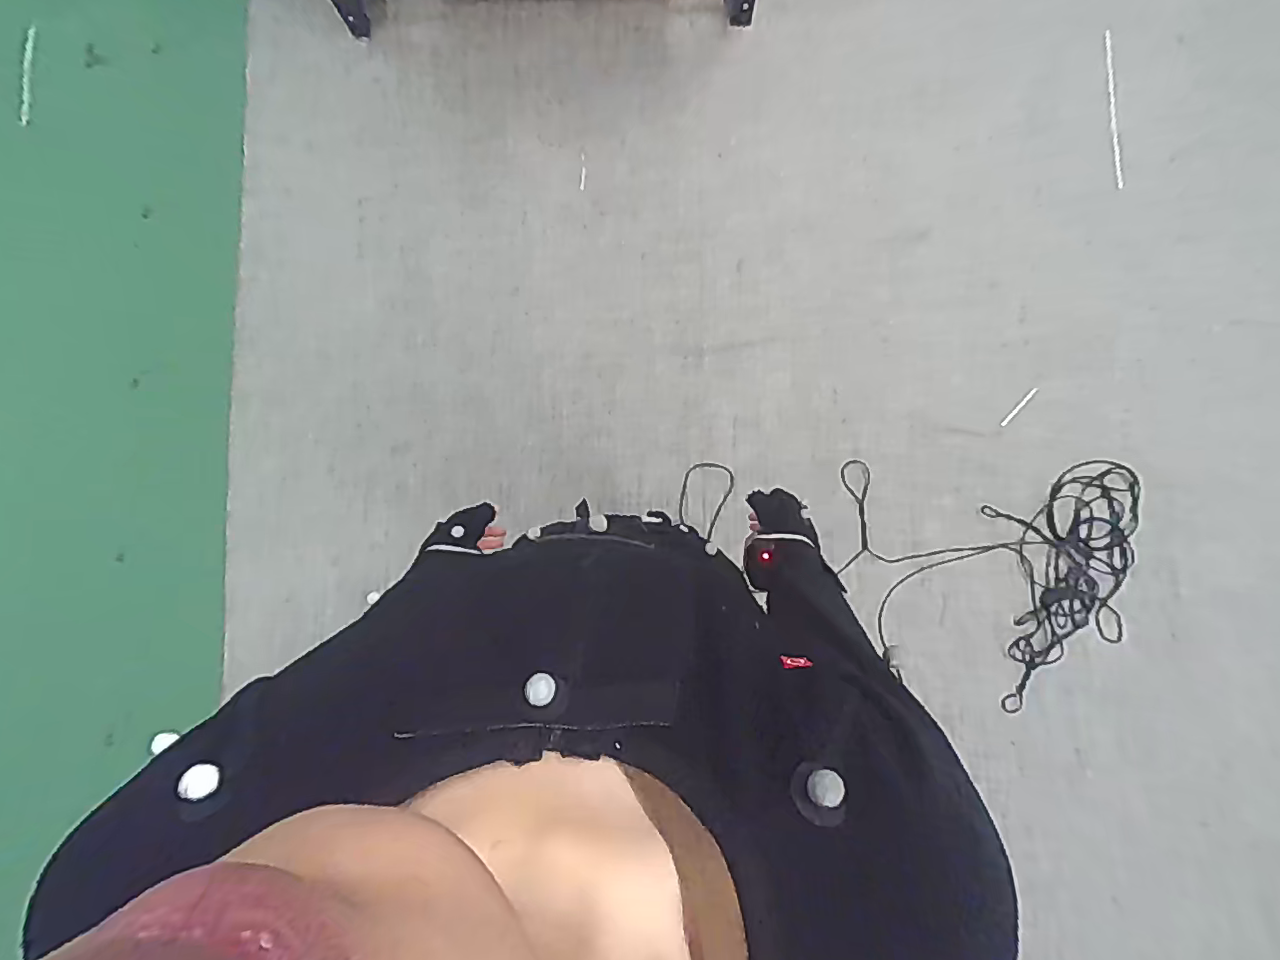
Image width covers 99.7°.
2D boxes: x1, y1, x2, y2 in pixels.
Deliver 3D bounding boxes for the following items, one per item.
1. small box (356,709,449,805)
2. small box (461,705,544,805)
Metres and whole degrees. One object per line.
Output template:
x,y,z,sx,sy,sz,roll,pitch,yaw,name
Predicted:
-0.596,0.695,1.373,0.168,0.176,0.179,-1,86,1,small box
-0.340,0.688,1.365,0.168,0.176,0.179,0,85,0,small box
